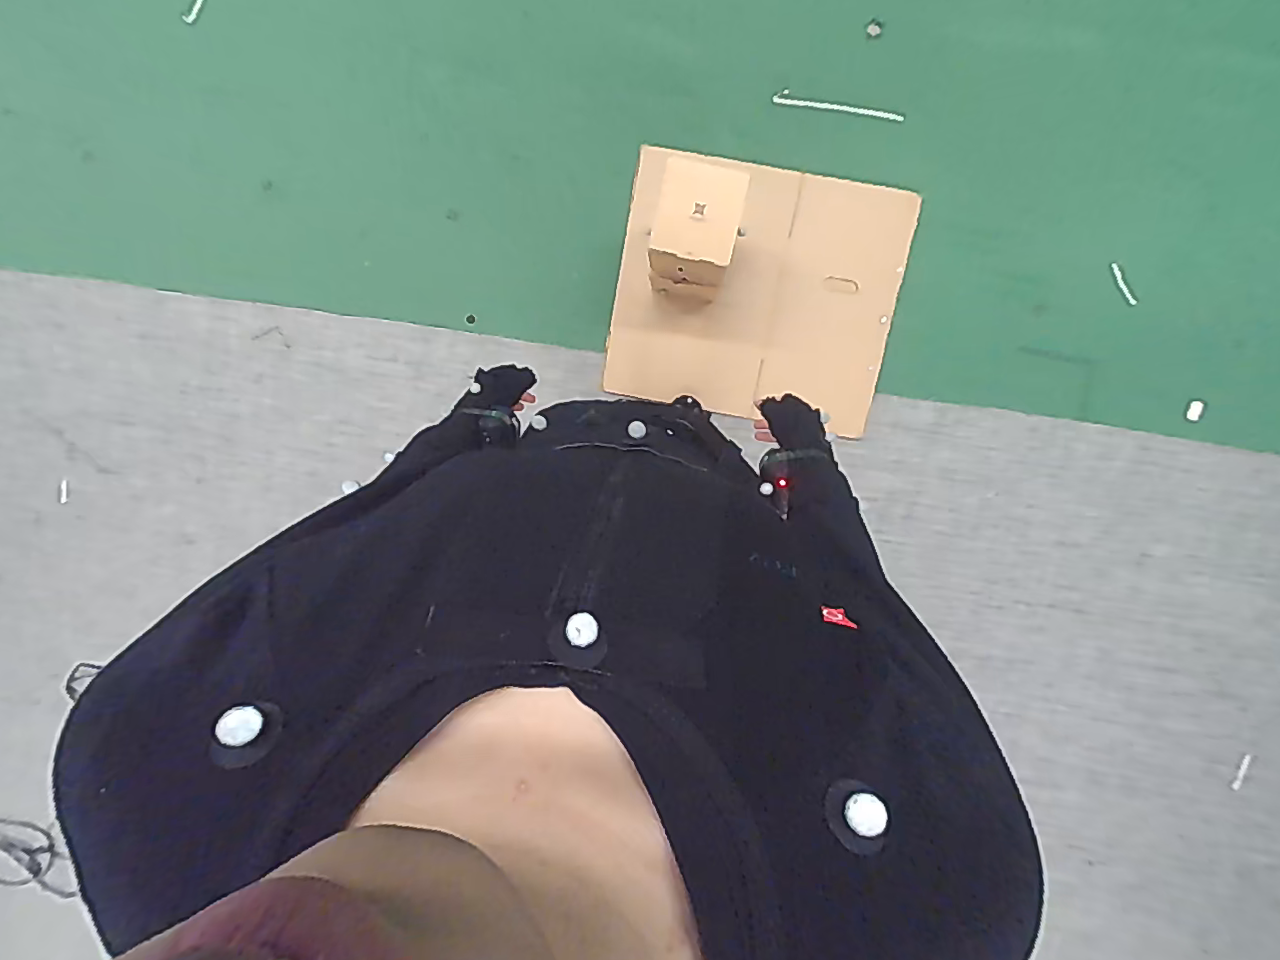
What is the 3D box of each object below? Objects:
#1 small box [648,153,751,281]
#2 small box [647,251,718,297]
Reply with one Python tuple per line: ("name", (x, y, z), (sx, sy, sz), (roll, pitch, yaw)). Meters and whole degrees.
("small box", (0.116, -0.530, 1.114), (0.168, 0.176, 0.179), (13, 100, 1))
("small box", (0.118, -0.545, 1.276), (0.168, 0.176, 0.179), (12, 99, 2))
